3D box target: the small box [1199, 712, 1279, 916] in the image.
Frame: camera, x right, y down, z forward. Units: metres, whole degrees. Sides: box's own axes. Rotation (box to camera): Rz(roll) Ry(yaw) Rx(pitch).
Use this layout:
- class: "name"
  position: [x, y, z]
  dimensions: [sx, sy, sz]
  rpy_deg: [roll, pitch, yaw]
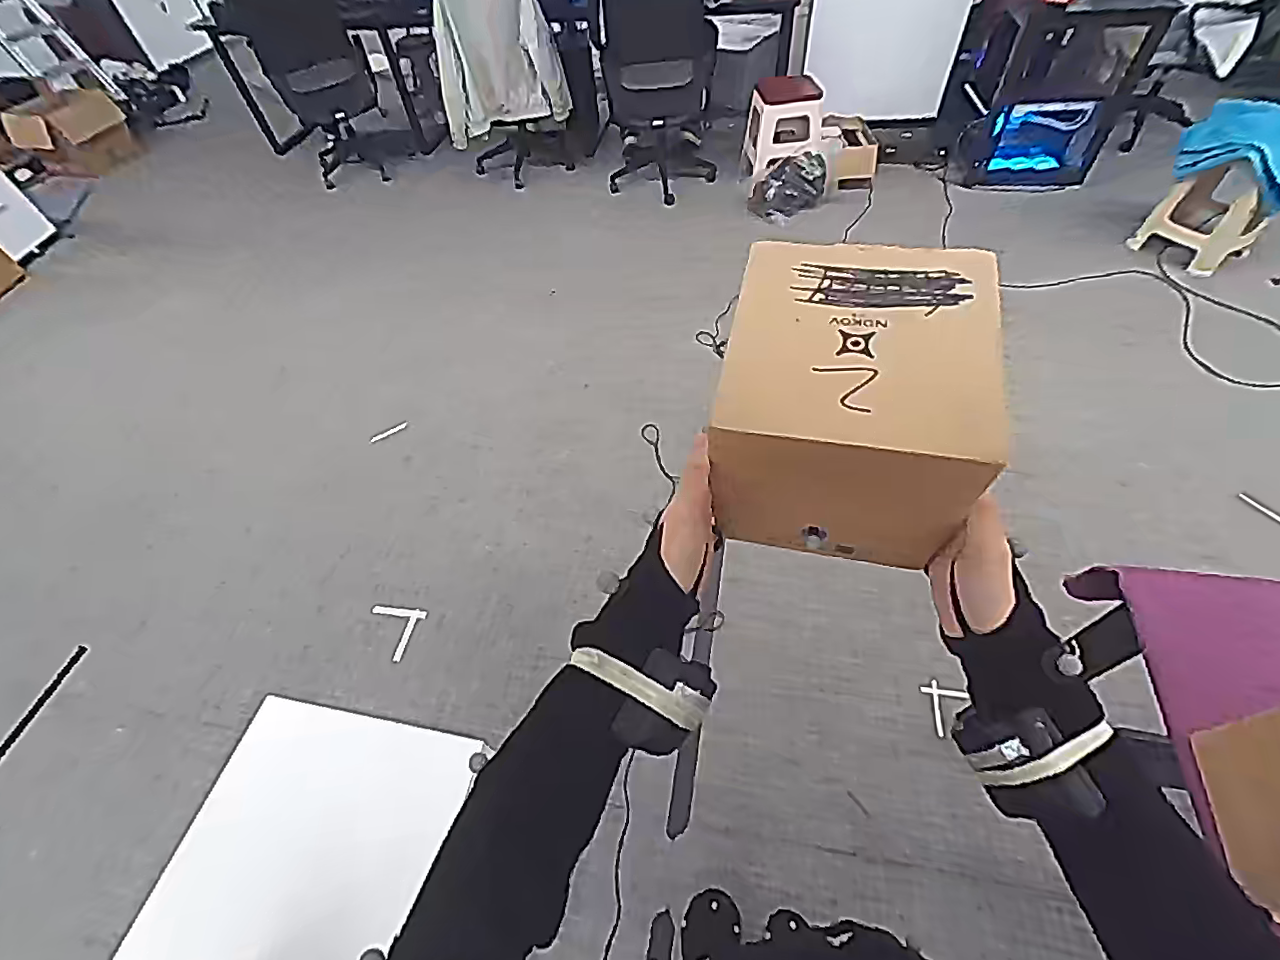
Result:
- class: "small box"
  position: [0.711, 0.340, 0.517]
  dimensions: [0.168, 0.176, 0.179]
  rpy_deg: [10, 54, 12]
